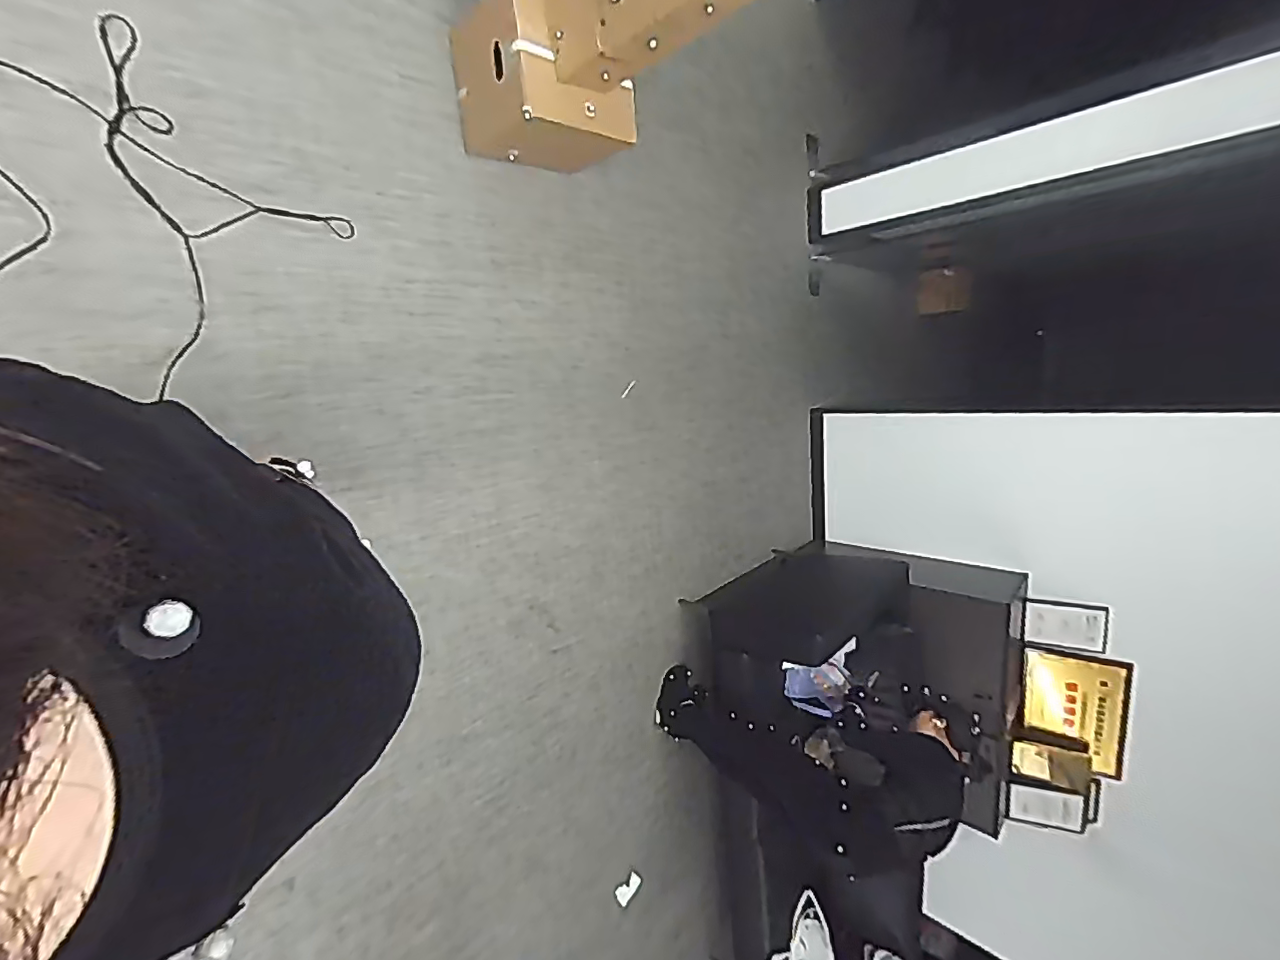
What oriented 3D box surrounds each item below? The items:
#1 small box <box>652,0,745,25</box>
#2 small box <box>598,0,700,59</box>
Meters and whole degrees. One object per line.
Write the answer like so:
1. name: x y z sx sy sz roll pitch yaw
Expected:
1. small box: 0.131 -1.120 1.159 0.179 0.176 0.168 -29 114 -39
2. small box: 0.012 -1.132 1.273 0.179 0.176 0.168 -28 114 -40
